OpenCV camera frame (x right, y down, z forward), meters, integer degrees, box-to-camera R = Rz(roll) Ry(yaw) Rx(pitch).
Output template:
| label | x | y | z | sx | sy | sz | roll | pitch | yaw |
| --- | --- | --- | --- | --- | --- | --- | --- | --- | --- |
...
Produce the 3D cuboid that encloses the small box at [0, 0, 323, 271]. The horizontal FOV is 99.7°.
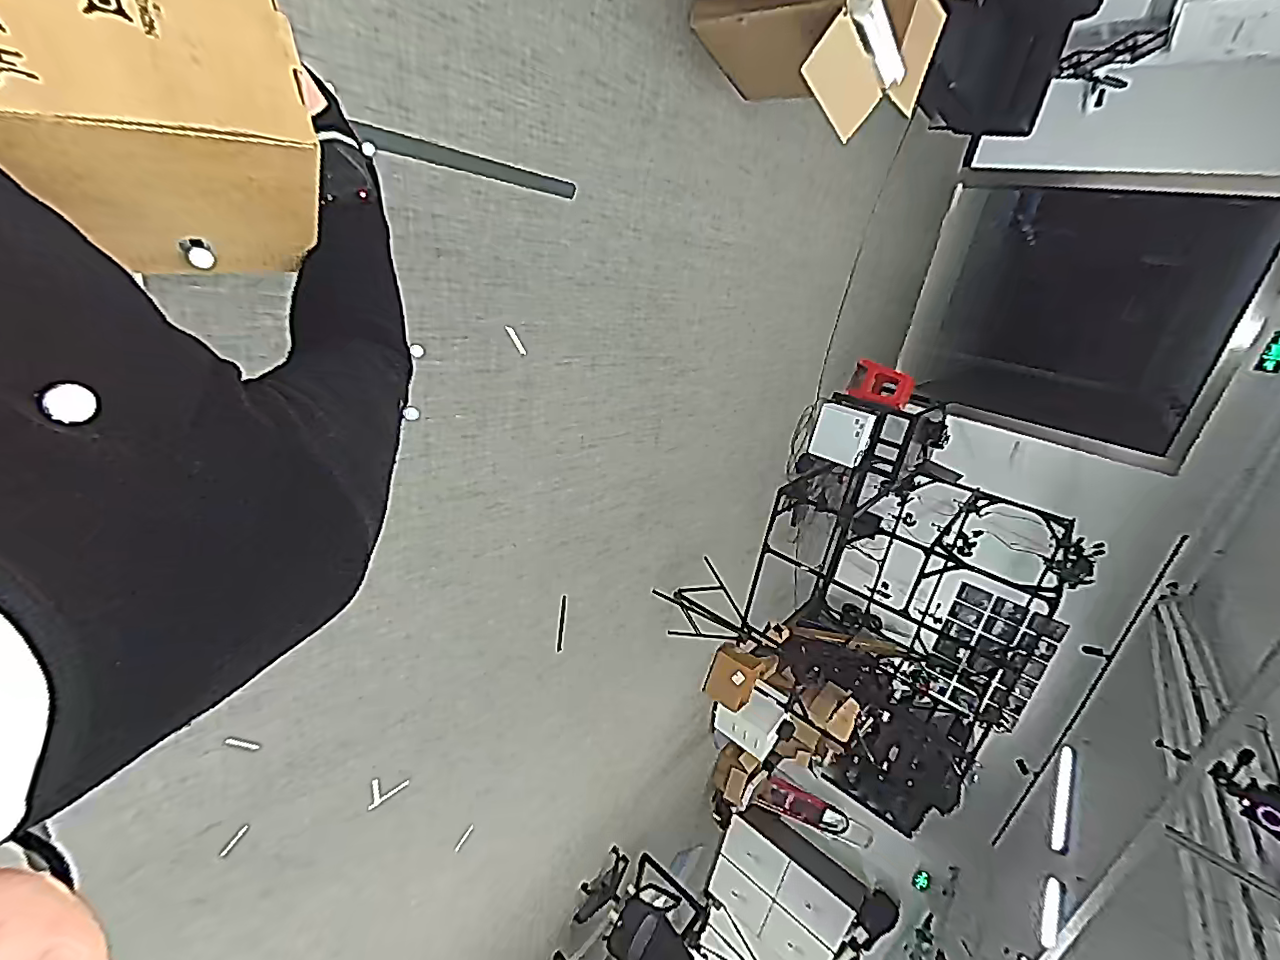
| label | x | y | z | sx | sy | sz | roll | pitch | yaw |
| --- | --- | --- | --- | --- | --- | --- | --- | --- | --- |
| small box | -0.366 | -0.279 | 0.418 | 0.179 | 0.176 | 0.168 | -16 | 86 | -34 |
